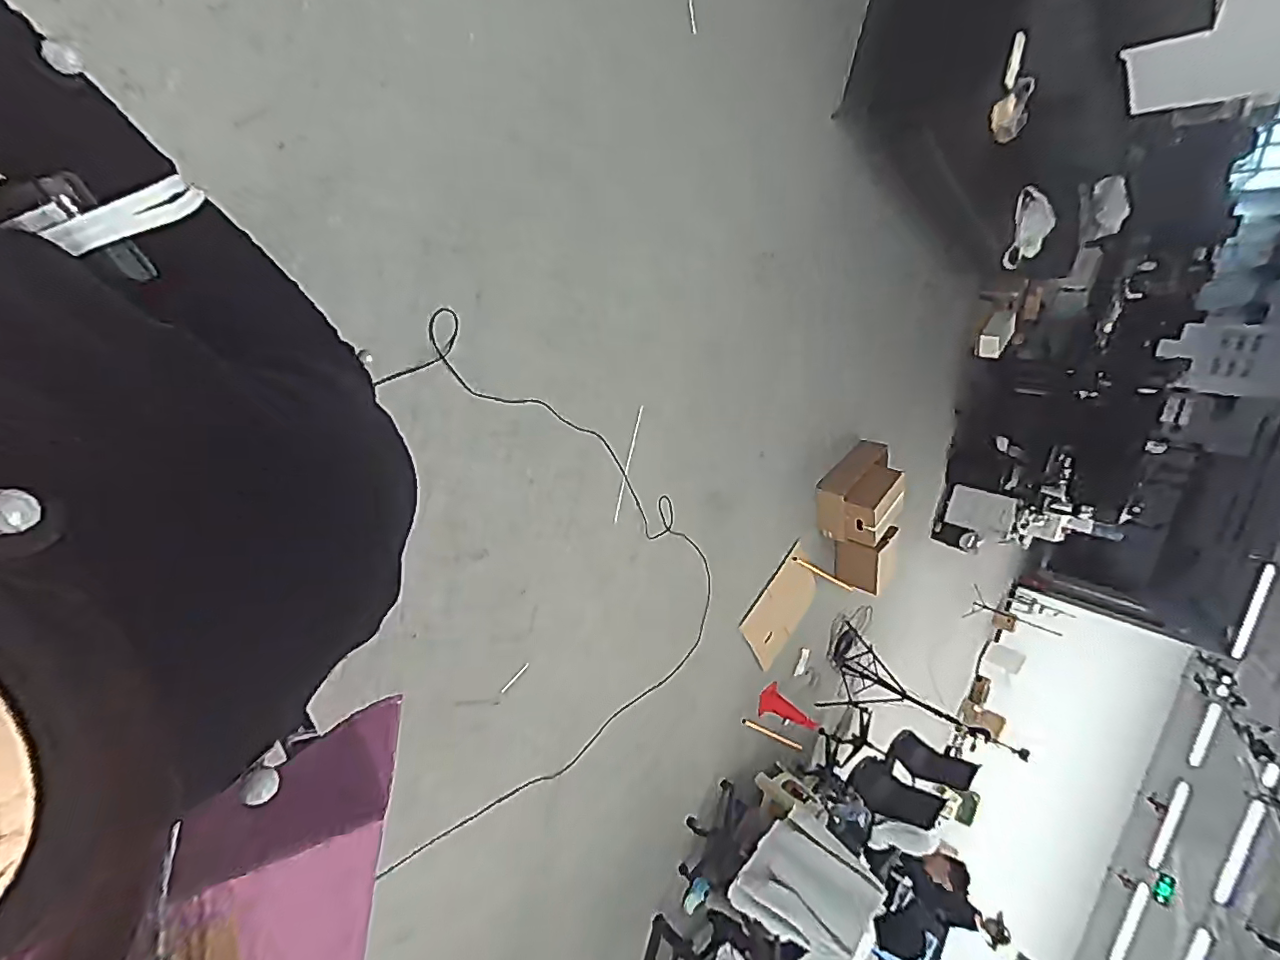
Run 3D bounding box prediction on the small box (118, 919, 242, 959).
[{"bbox_3d":[-0.614,0.731,0.689,0.168,0.176,0.179,6,102,-47],"label":"small box"}]
